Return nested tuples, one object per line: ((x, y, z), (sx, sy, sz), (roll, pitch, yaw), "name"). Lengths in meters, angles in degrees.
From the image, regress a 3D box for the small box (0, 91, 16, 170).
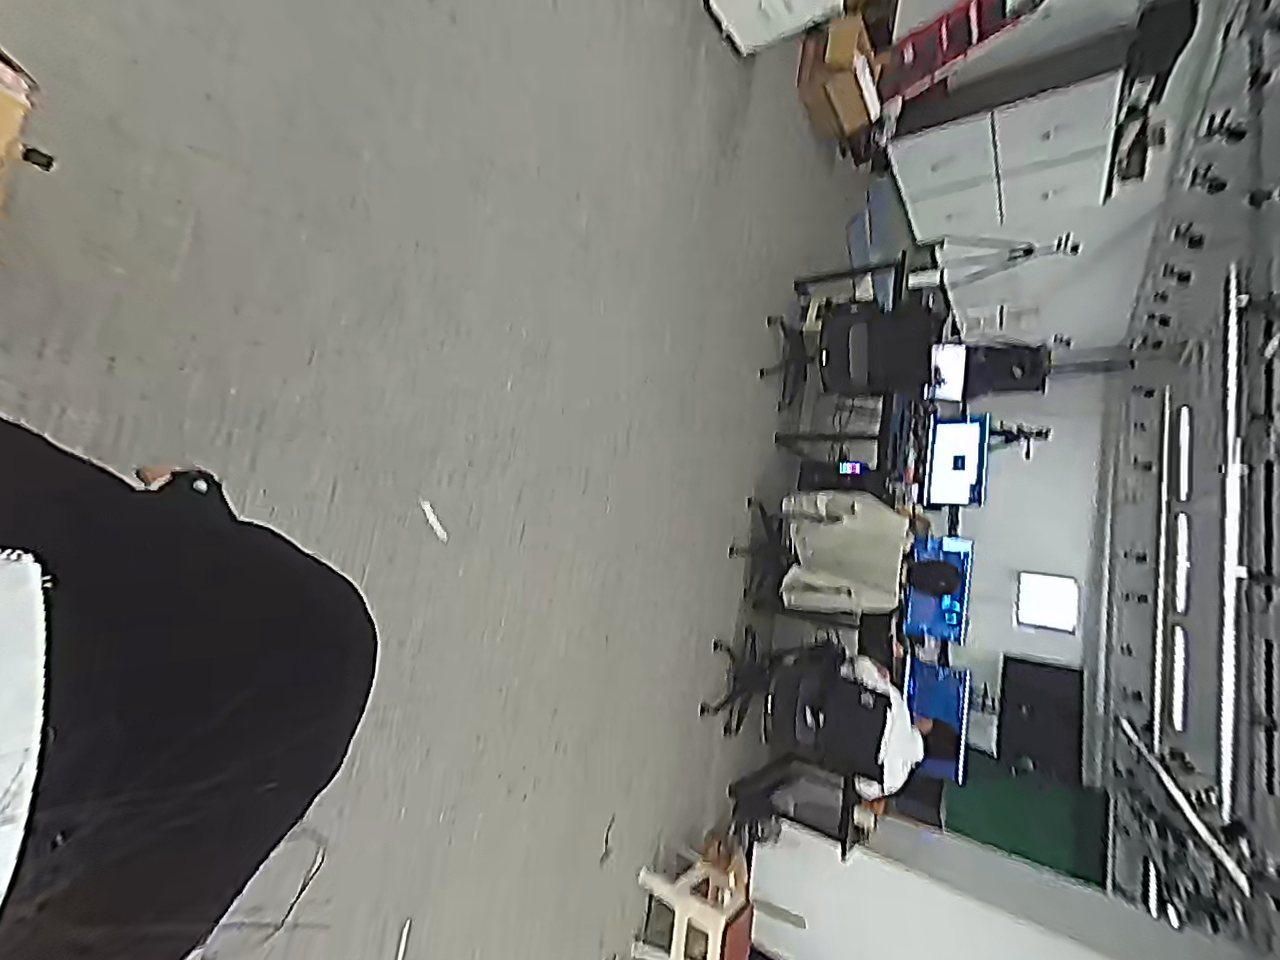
((-0.672, -0.278, 0.444), (0.168, 0.176, 0.179), (26, 74, -51), "small box")
